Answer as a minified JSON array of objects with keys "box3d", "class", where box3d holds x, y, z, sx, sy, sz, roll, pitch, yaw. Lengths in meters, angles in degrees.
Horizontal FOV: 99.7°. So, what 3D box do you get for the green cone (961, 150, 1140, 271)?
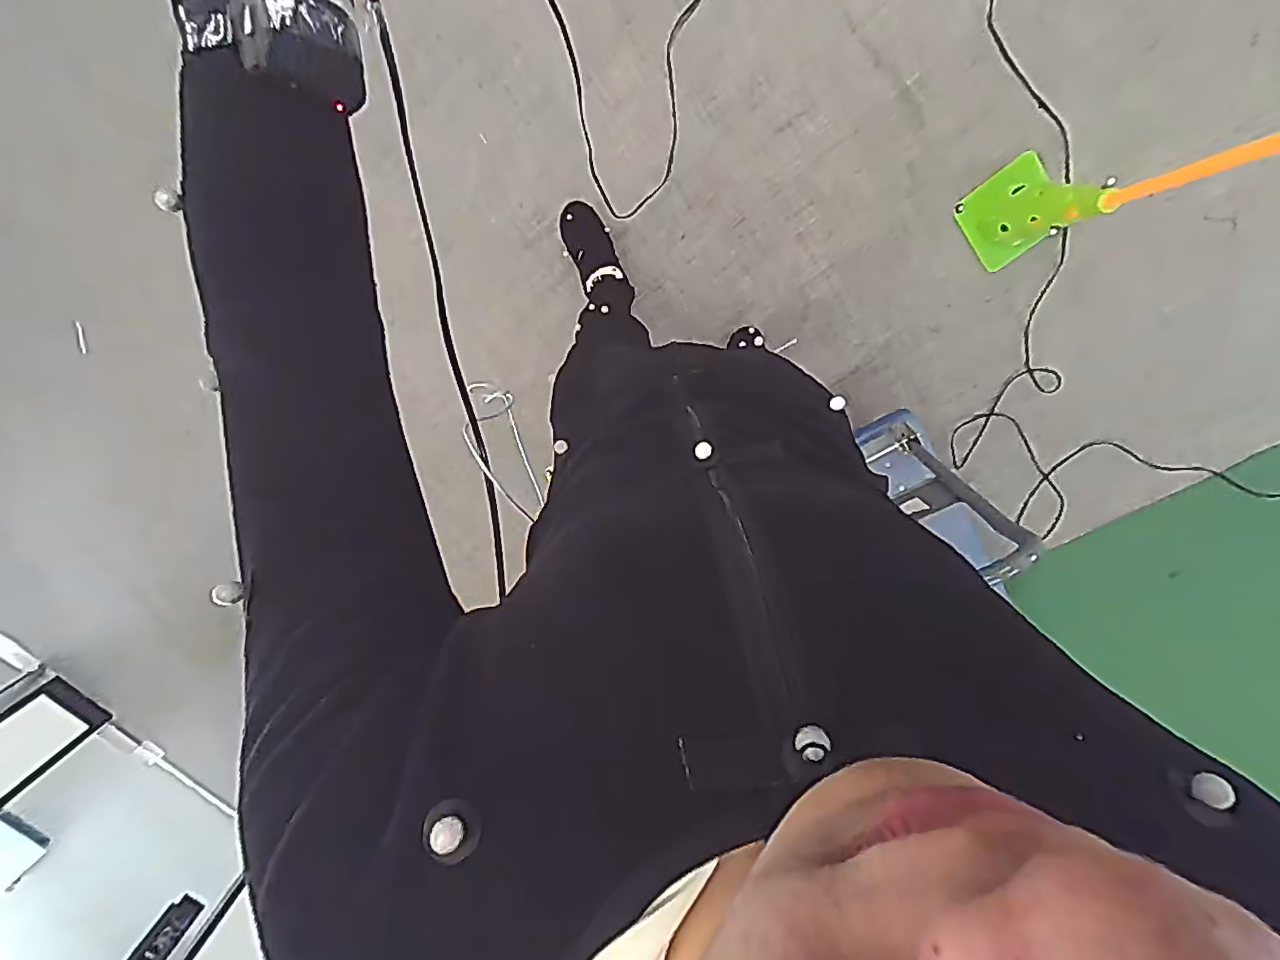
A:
[{"box3d":[0.882,-0.571,1.129,0.202,0.368,0.200,-38,105,18],"class":"green cone"}]
